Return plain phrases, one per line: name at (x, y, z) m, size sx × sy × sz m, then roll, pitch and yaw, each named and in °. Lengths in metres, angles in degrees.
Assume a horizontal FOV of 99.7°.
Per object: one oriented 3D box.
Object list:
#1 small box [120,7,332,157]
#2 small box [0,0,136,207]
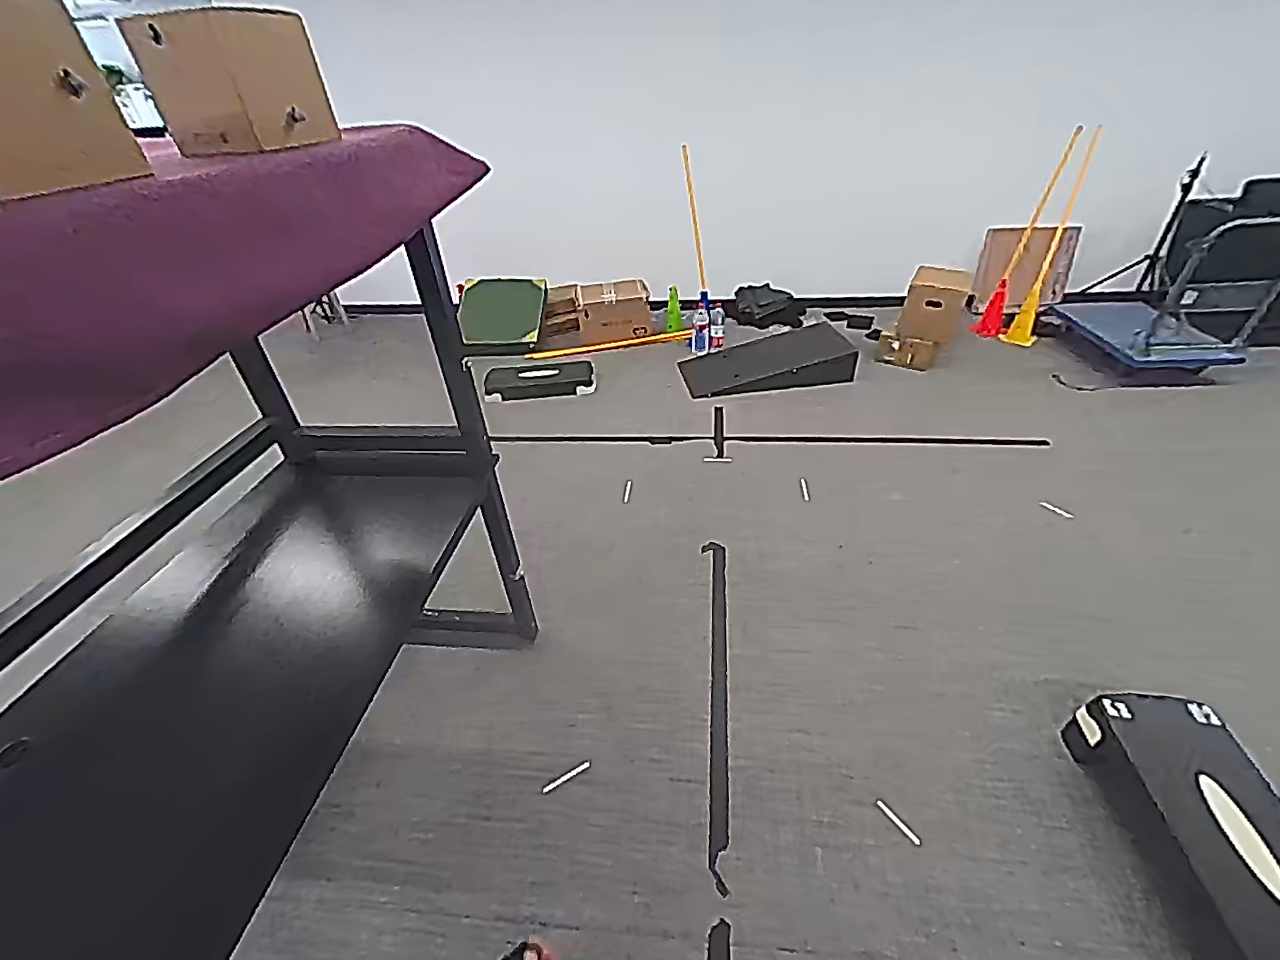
small box at (-0.614, -0.606, 0.836) m, size 0.168 × 0.176 × 0.179 m, roll 7°, pitch 38°, yaw 15°
small box at (-0.665, -0.375, 0.534) m, size 0.168 × 0.176 × 0.179 m, roll 1°, pitch 37°, yaw 8°
